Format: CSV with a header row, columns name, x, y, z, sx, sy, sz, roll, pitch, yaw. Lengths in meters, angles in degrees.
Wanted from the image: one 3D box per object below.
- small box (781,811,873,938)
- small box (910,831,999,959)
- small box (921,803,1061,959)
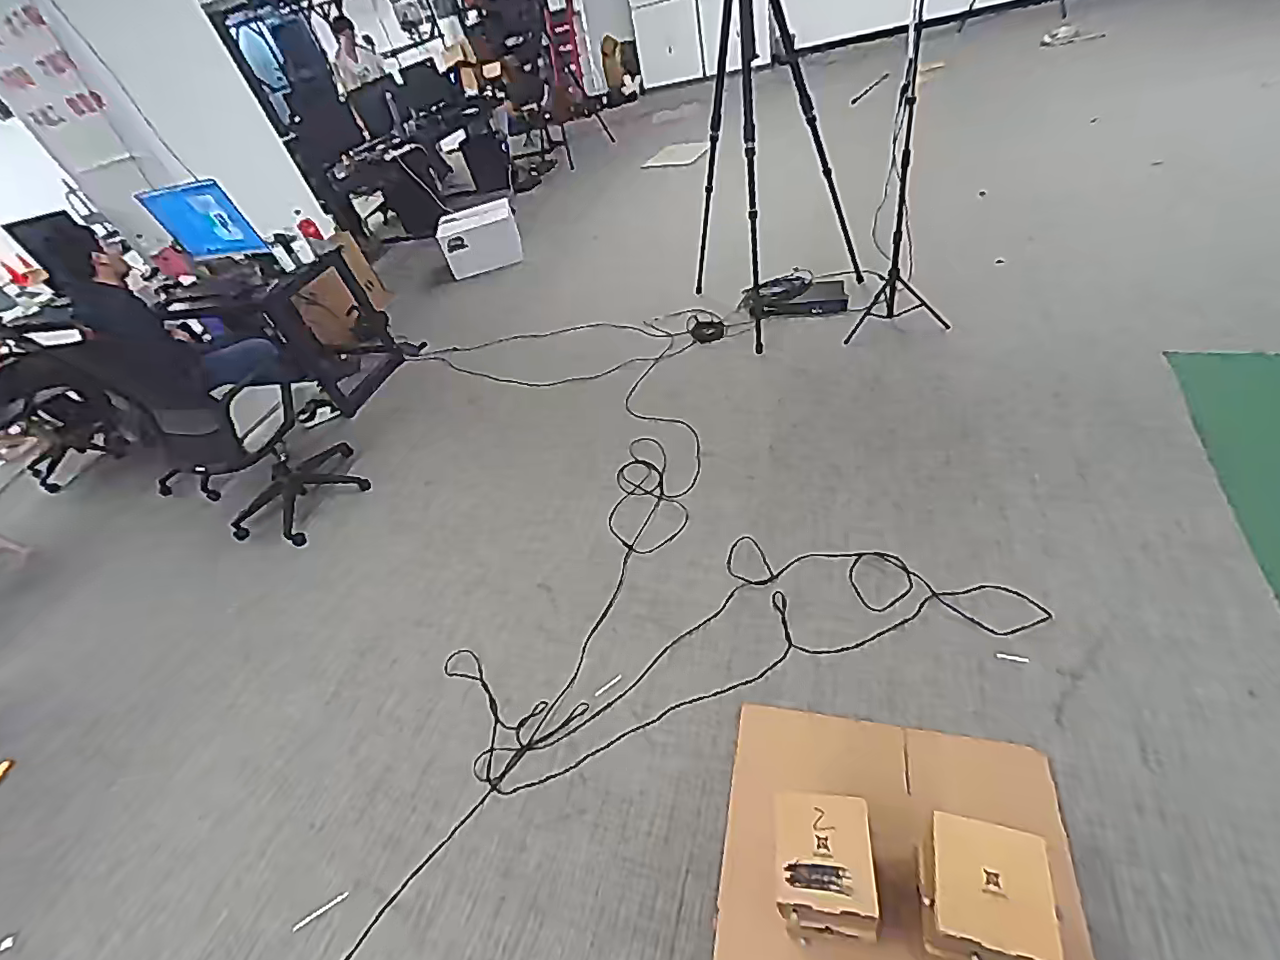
name,x,y,z,sx,sy,sz,roll,pitch,yaw
small box,0.378,0.809,1.106,0.168,0.176,0.179,-2,45,17
small box,0.618,0.807,1.031,0.168,0.176,0.179,0,47,21
small box,0.583,0.690,0.924,0.168,0.176,0.179,3,48,22
